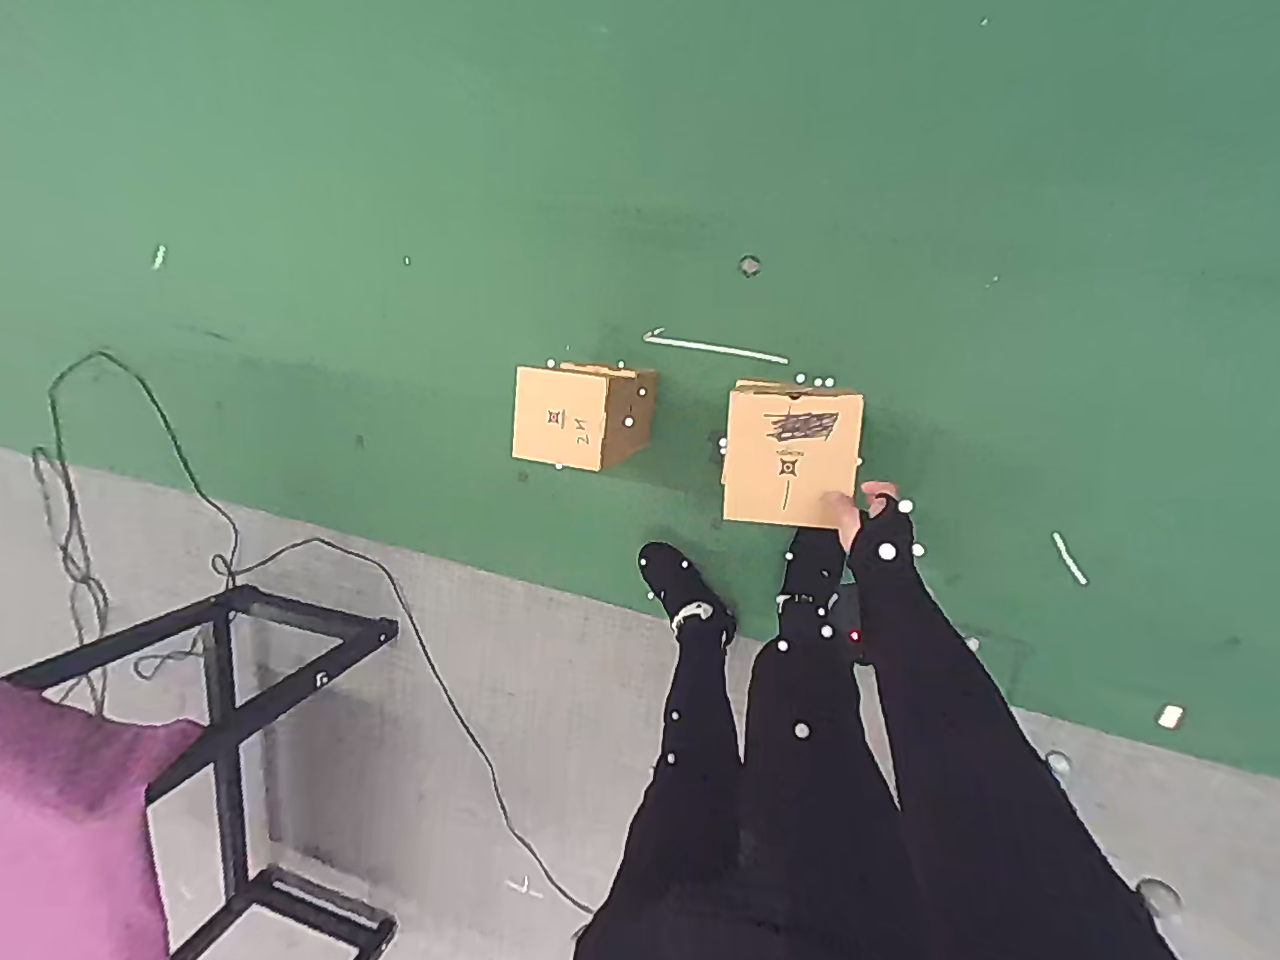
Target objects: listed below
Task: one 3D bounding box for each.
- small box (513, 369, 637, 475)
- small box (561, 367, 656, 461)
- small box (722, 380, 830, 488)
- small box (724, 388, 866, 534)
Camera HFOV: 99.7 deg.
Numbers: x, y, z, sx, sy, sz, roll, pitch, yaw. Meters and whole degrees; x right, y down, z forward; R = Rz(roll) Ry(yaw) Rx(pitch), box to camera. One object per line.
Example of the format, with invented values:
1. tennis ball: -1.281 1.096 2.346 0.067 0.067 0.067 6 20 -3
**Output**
1. small box: -0.119 -0.115 1.026 0.179 0.176 0.168 10 103 14
2. small box: -0.070 -0.149 1.179 0.168 0.176 0.179 10 102 15
3. small box: 0.243 -0.073 0.928 0.168 0.176 0.179 10 104 13
4. small box: 0.214 -0.038 0.771 0.168 0.176 0.179 4 104 15
